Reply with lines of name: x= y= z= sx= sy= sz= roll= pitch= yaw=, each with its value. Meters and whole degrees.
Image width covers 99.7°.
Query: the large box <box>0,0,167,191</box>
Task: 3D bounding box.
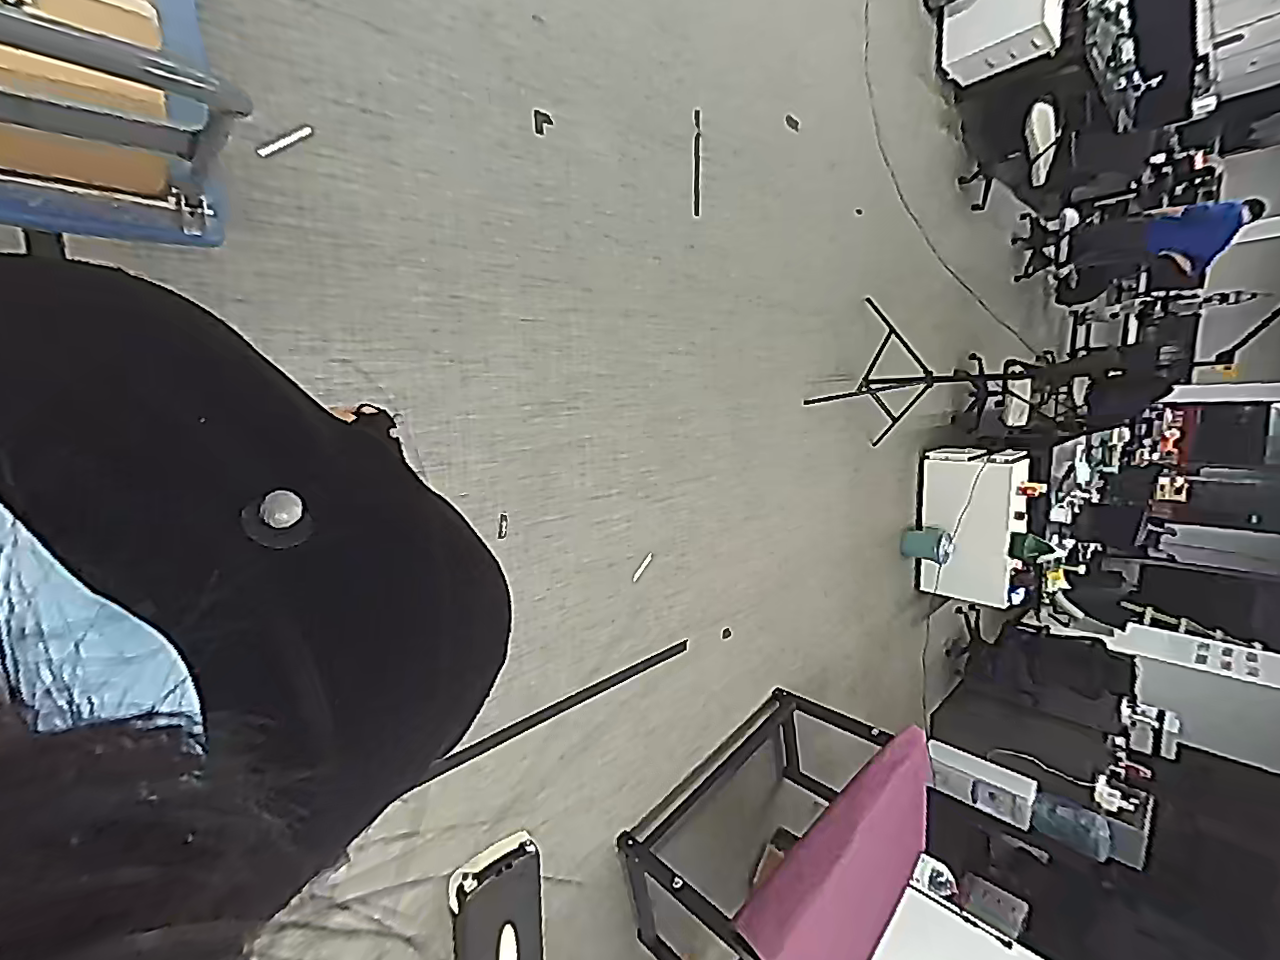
large box: x=-0.937 y=-0.638 z=0.731 sx=0.408 sy=0.320 sz=0.320 roll=-10 pitch=102 yaw=-43
